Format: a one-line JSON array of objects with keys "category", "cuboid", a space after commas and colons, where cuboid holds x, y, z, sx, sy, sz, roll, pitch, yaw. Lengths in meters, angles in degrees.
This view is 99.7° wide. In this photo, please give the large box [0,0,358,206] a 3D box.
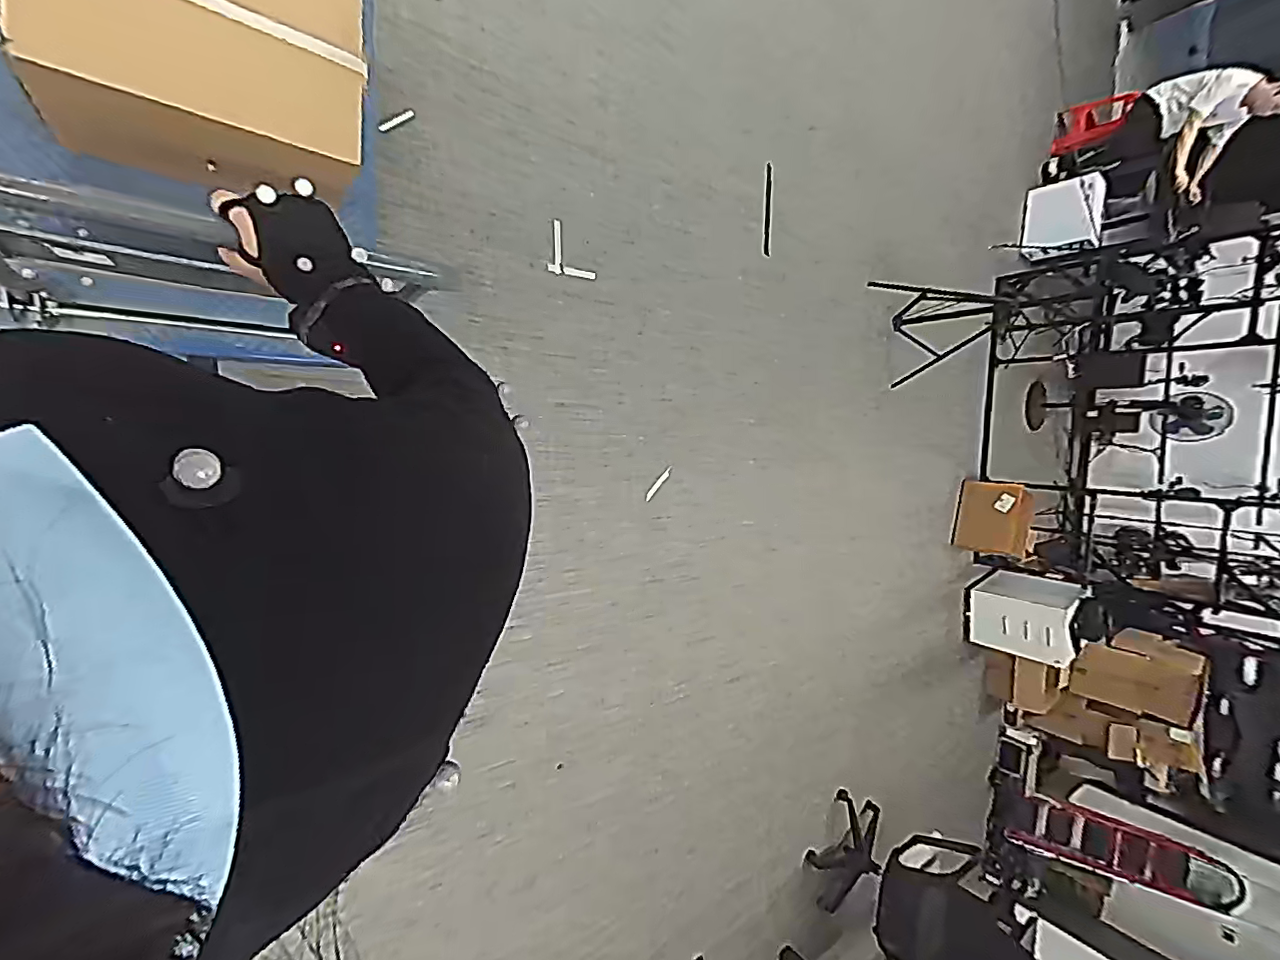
[{"category": "large box", "cuboid": [-0.708, -0.698, 0.879, 0.408, 0.320, 0.320, 0, 95, -37]}]
